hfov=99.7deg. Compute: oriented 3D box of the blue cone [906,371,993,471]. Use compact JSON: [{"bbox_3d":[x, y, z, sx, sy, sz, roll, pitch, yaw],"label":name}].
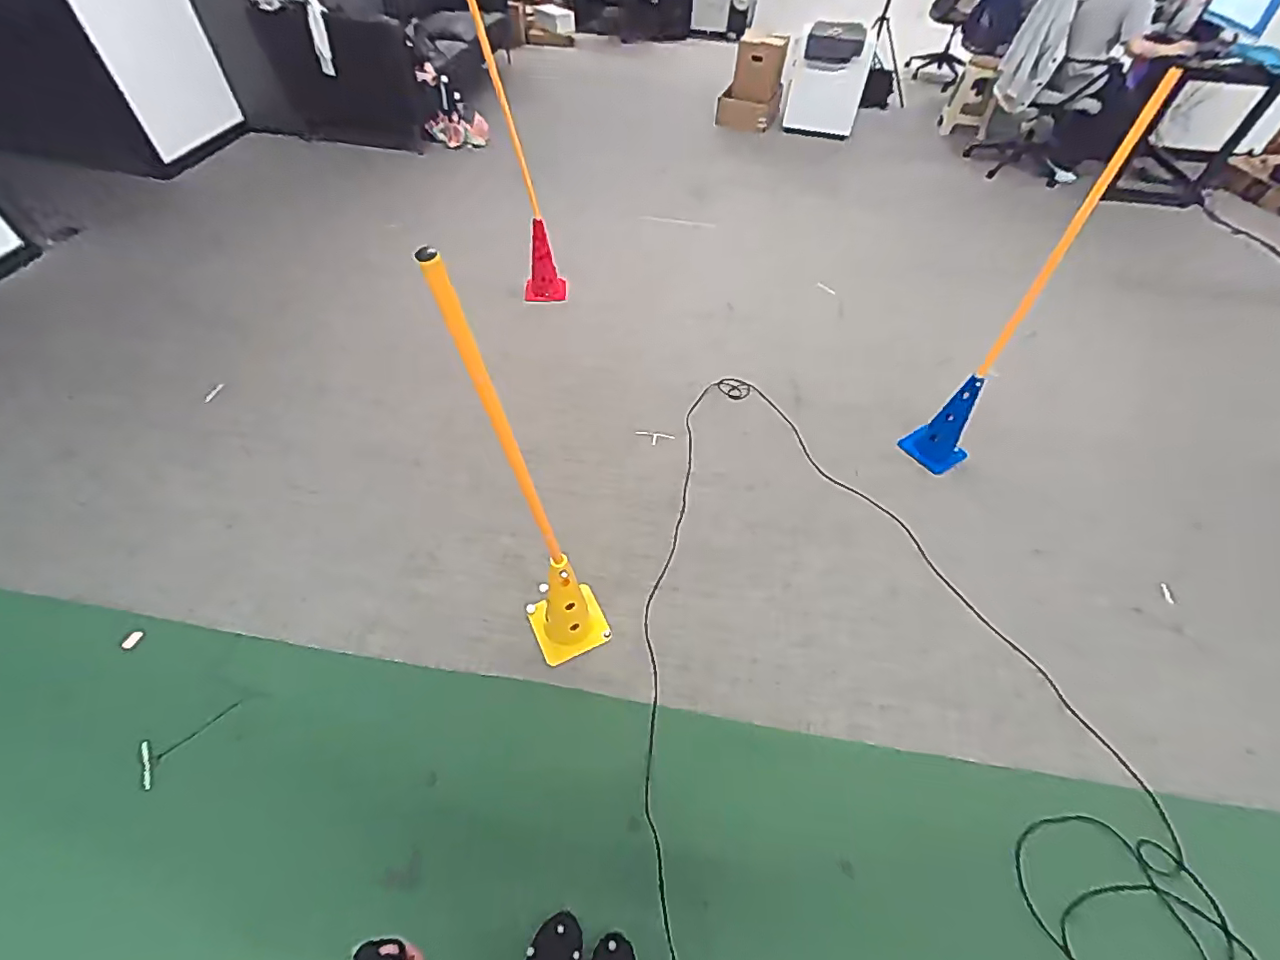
[{"bbox_3d":[1.132,-0.234,1.929,0.193,0.380,0.192,-27,56,-24],"label":"blue cone"}]
